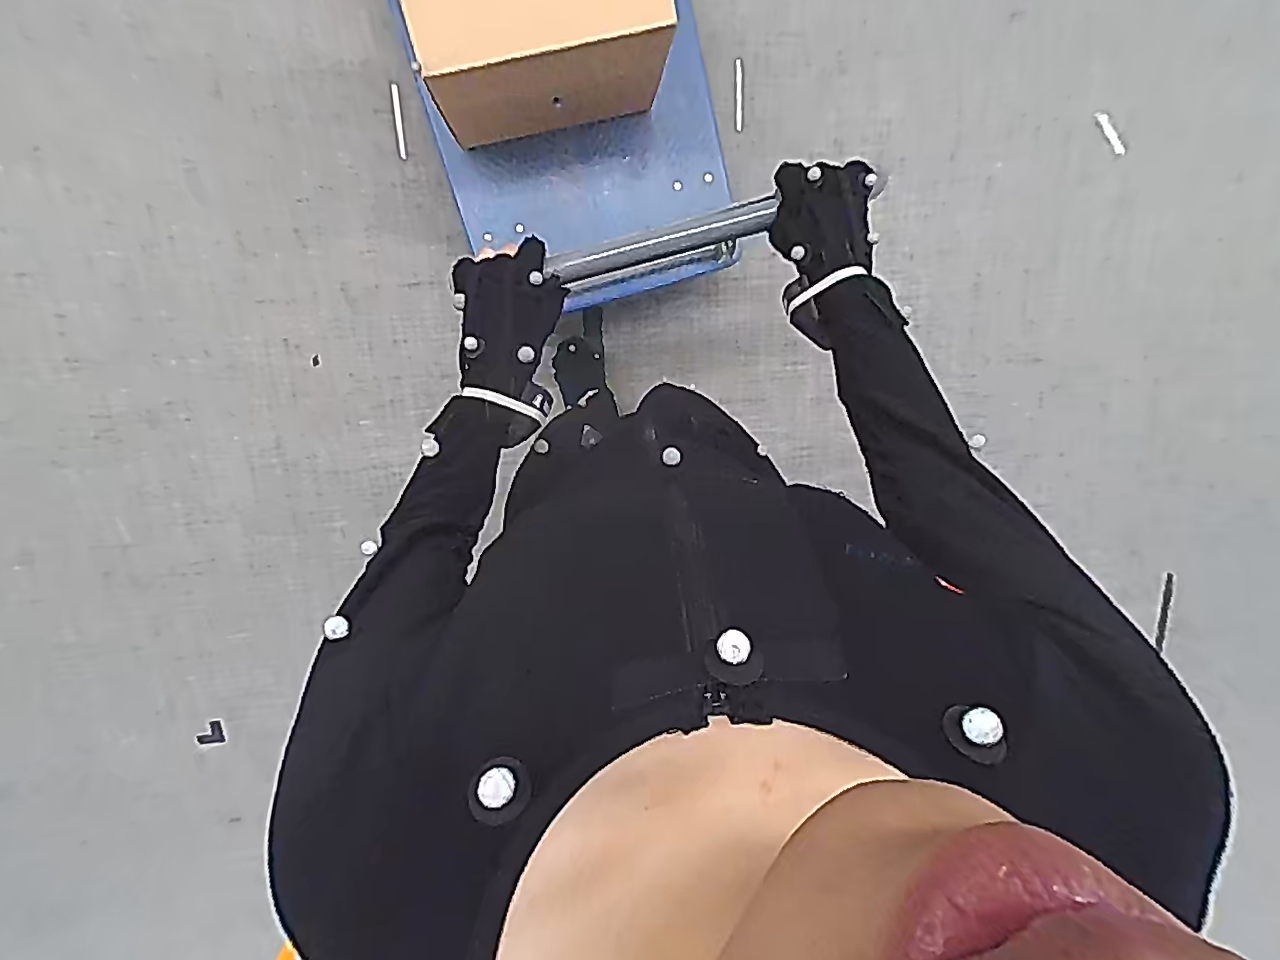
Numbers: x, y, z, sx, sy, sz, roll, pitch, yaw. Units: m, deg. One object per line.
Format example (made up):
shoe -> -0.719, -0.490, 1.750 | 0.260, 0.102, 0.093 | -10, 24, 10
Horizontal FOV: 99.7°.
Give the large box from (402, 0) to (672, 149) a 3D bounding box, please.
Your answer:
large box -> -0.188, -0.839, 0.949 | 0.408, 0.320, 0.320 | -14, 104, -2
